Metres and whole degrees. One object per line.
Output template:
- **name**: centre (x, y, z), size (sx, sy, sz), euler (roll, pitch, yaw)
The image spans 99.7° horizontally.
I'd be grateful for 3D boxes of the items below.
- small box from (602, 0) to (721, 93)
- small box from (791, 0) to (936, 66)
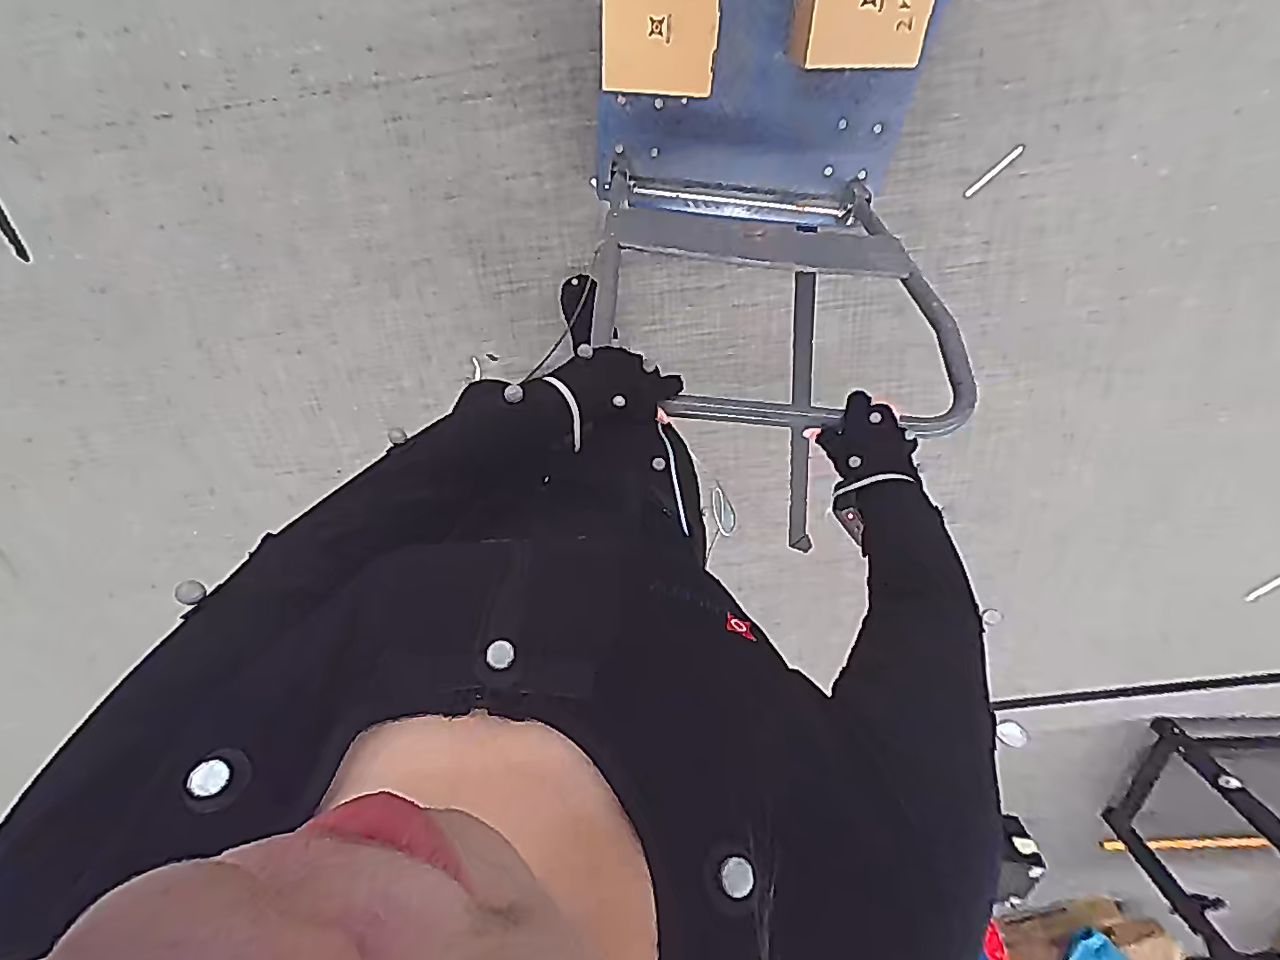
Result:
- **small box**: centre (0.032, -0.735, 0.864), size (0.179, 0.176, 0.168), euler (2, 133, -2)
- **small box**: centre (0.343, -0.753, 0.835), size (0.179, 0.176, 0.168), euler (1, 134, 1)
